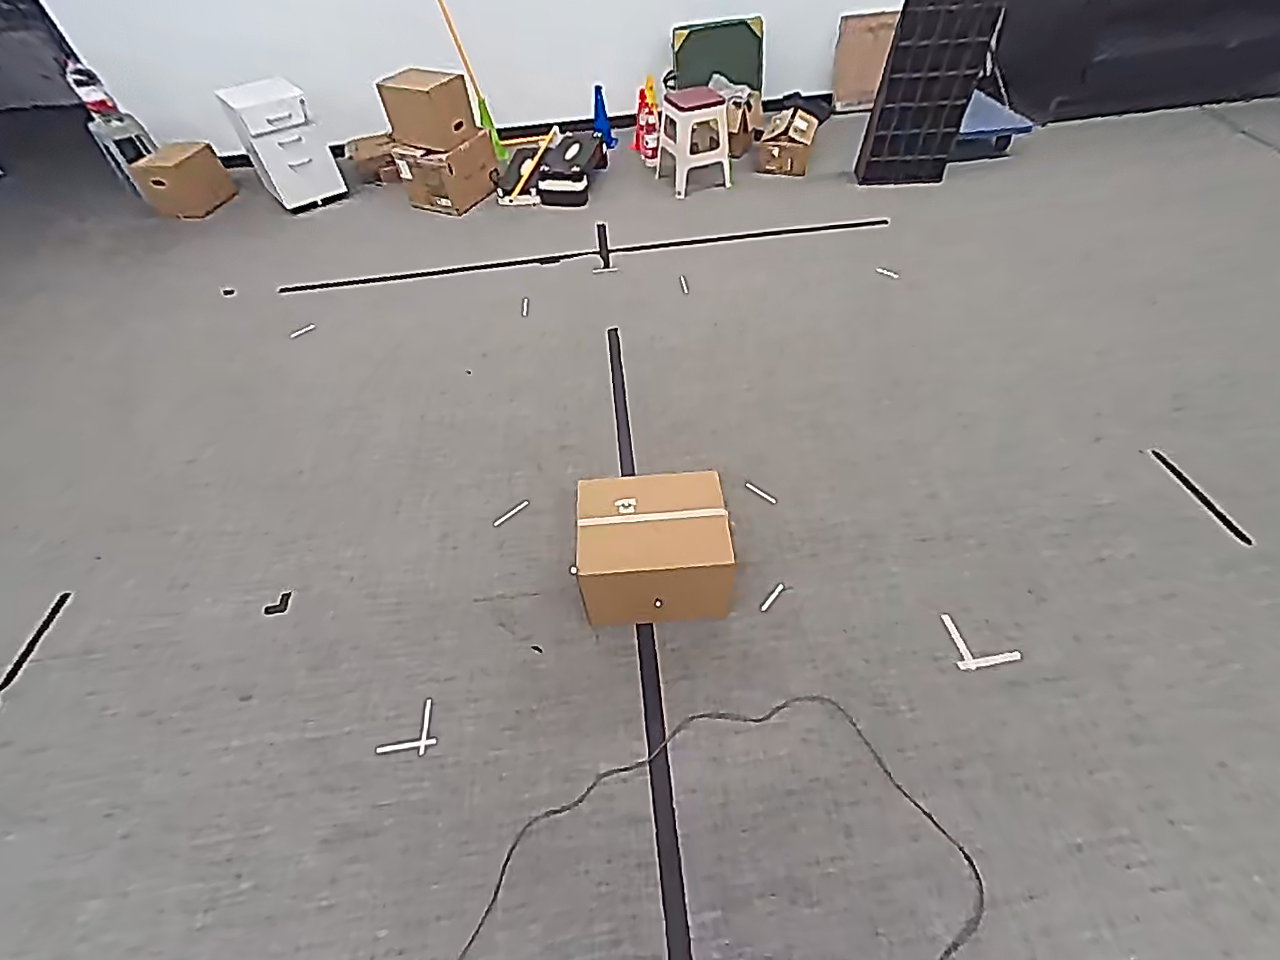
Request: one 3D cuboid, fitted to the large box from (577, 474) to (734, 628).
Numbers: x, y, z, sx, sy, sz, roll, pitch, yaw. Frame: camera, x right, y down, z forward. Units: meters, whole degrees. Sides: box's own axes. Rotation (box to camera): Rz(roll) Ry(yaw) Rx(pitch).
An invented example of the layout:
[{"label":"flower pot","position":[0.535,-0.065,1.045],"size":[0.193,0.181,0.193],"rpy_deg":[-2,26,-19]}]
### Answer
[{"label":"large box","position":[0.041,0.212,1.572],"size":[0.408,0.320,0.320],"rpy_deg":[-5,49,1]}]
